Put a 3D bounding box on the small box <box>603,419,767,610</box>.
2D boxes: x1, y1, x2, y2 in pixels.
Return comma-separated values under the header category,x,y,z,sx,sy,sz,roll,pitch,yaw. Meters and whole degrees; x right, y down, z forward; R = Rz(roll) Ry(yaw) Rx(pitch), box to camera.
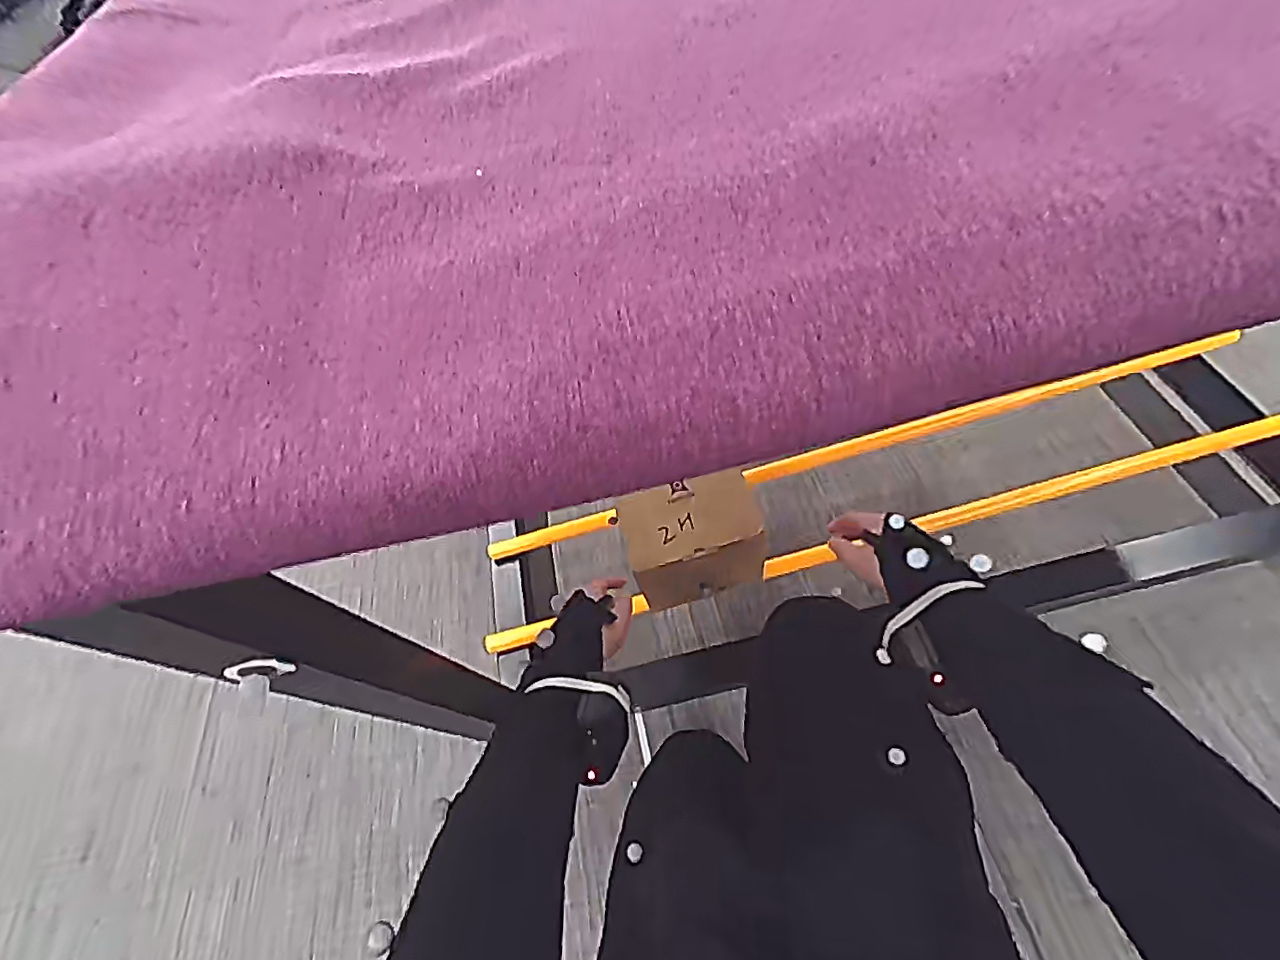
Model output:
category,x,y,z,sx,sy,sz,roll,pitch,yaw
small box,0.060,0.052,0.730,0.168,0.176,0.179,-18,59,1
